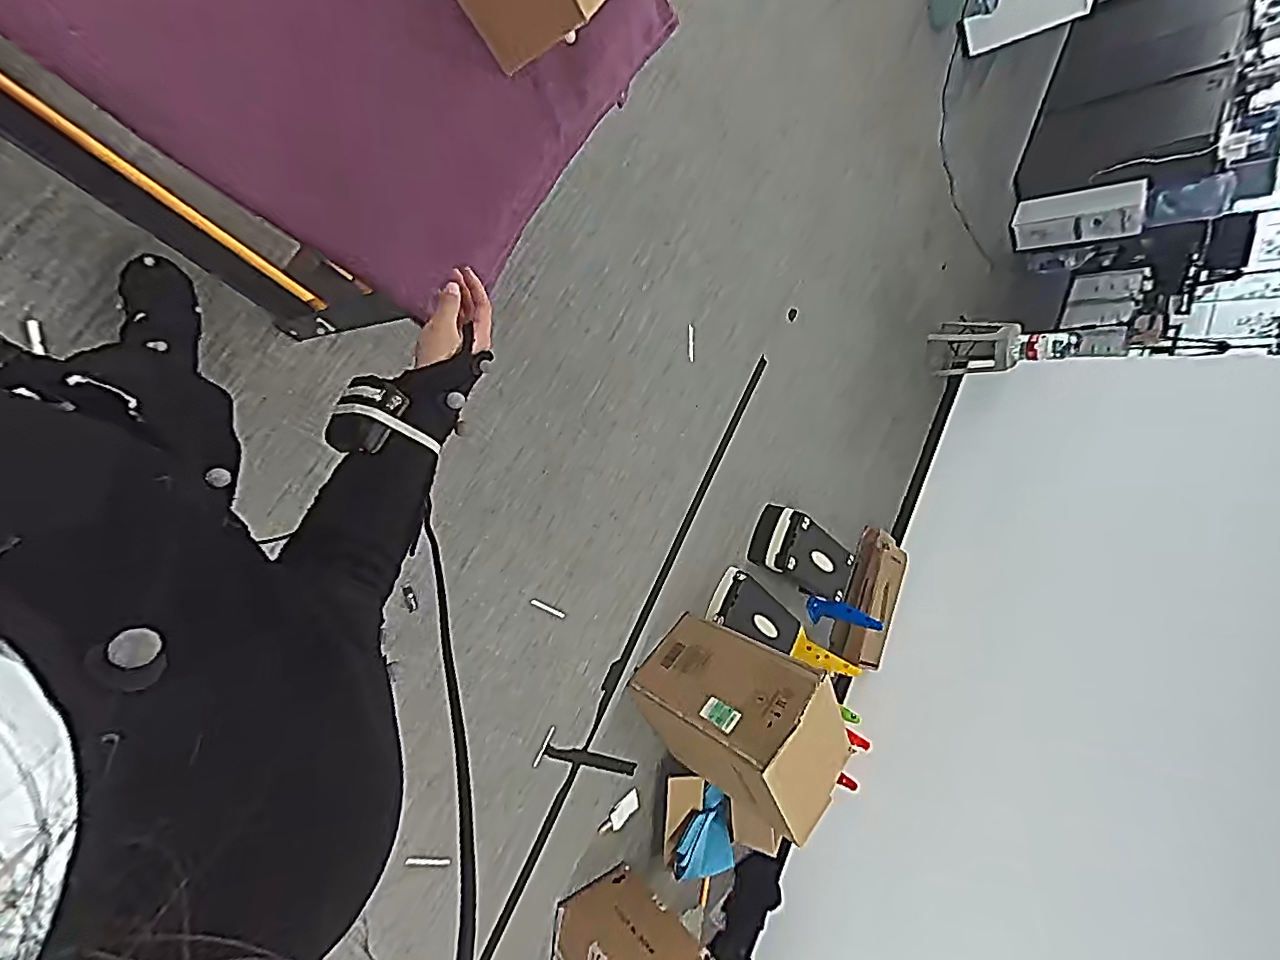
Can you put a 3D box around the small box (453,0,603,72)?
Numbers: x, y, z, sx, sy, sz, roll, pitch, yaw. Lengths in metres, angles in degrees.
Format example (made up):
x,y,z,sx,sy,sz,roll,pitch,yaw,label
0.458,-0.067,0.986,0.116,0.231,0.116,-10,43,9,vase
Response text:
x,y,z,sx,sy,sz,roll,pitch,yaw,label
-0.122,-0.602,0.589,0.168,0.176,0.179,-57,133,-17,small box
